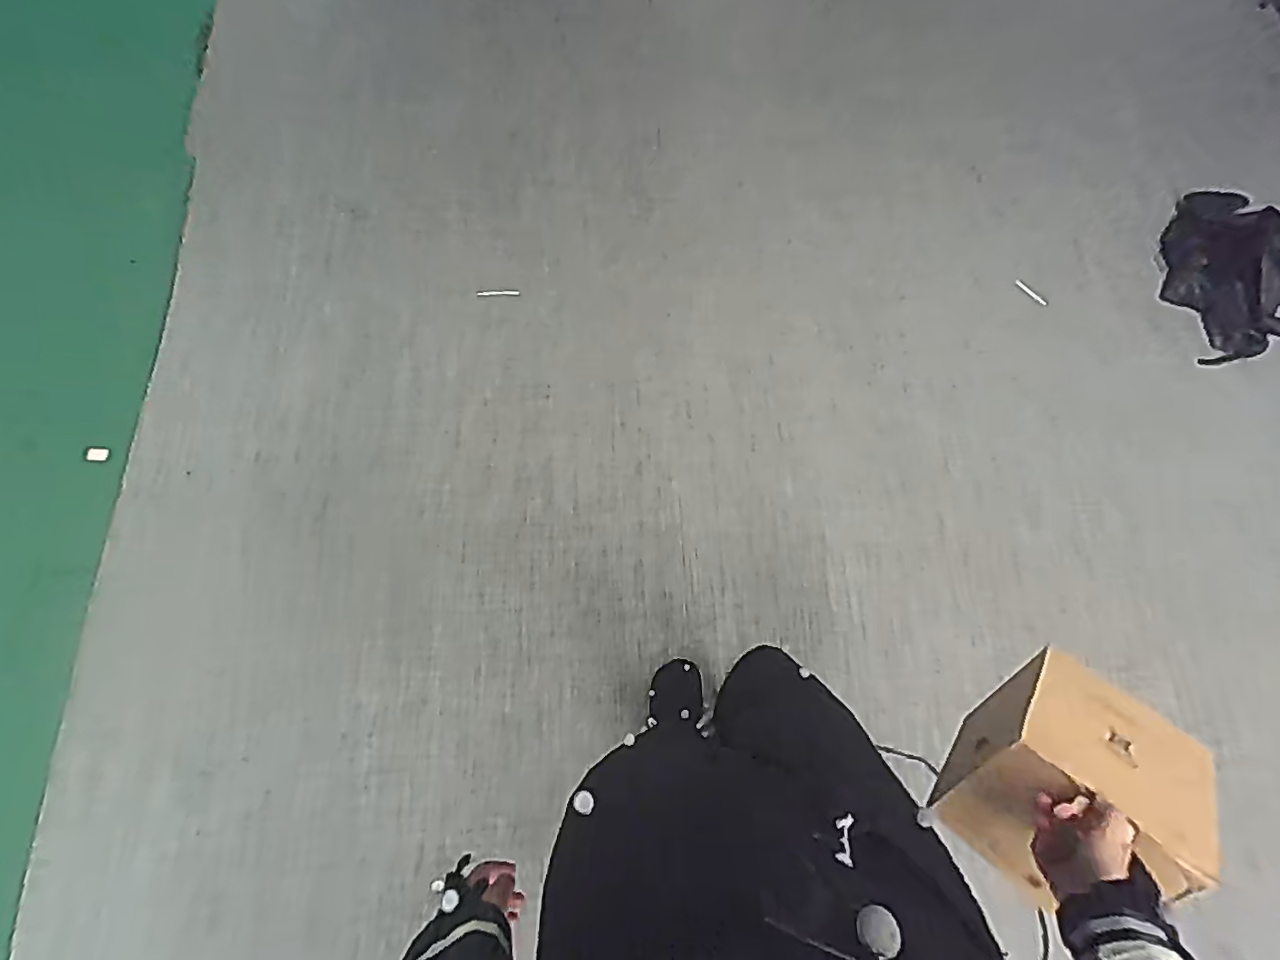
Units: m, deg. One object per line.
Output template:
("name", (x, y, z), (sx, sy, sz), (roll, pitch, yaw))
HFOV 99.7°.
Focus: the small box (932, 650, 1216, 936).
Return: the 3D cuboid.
("small box", (0.450, 0.329, 0.582), (0.168, 0.176, 0.179), (38, 39, 26))
